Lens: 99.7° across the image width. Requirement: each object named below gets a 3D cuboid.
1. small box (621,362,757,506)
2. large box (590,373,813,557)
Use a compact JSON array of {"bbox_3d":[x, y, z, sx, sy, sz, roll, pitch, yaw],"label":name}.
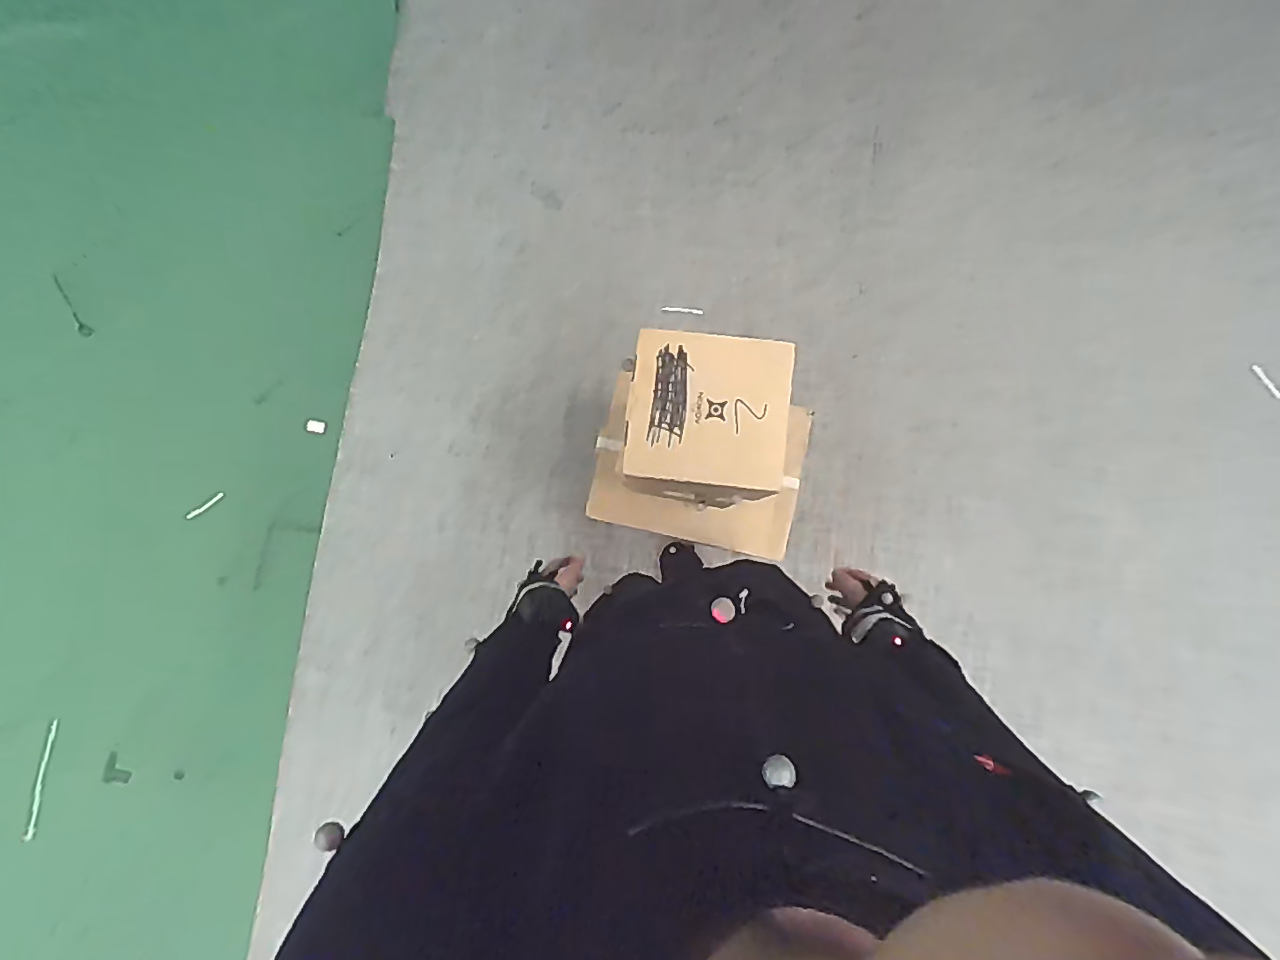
[{"bbox_3d":[0.073,-0.059,0.826,0.168,0.176,0.179,10,84,3],"label":"small box"},{"bbox_3d":[0.128,-0.020,1.225,0.408,0.320,0.320,12,86,4],"label":"large box"}]
